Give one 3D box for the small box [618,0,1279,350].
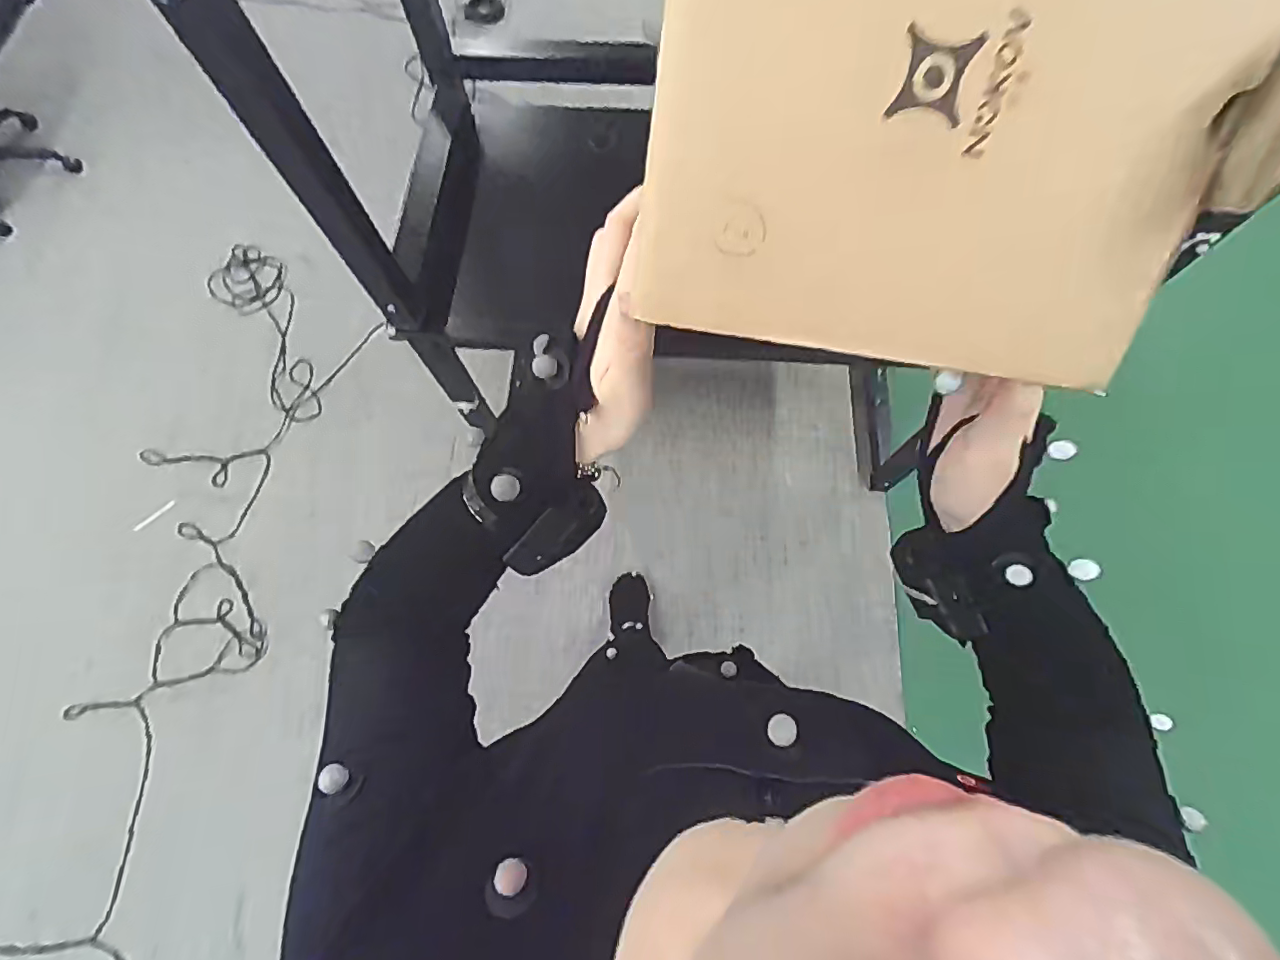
[{"bbox_3d":[0.096,-0.165,0.229,0.179,0.168,0.176,9,27,2],"label":"small box"}]
